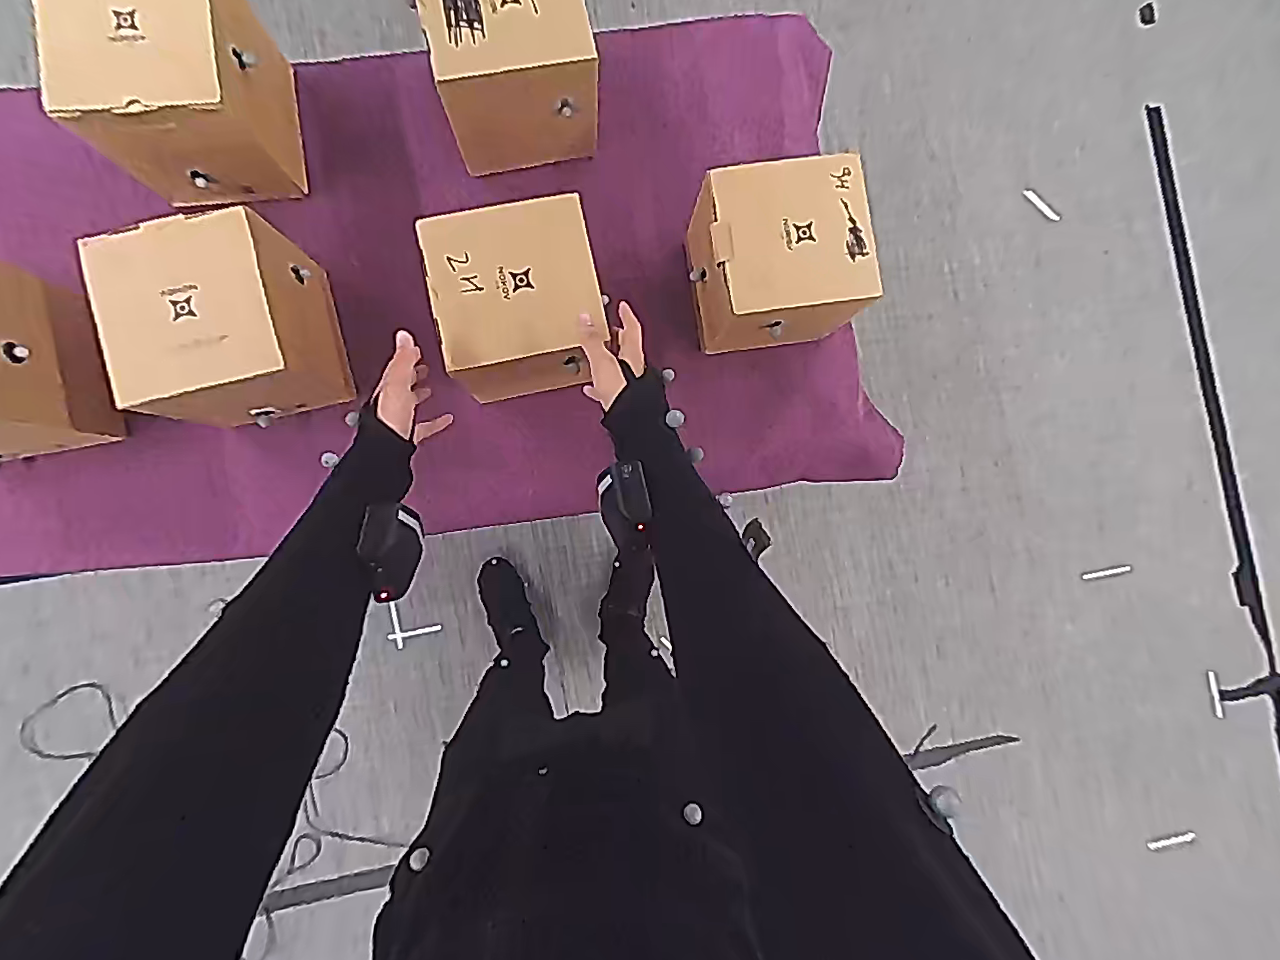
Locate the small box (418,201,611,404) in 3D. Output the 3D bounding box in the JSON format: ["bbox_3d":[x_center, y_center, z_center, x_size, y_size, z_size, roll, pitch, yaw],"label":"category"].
[{"bbox_3d":[-0.138,-0.198,0.646,0.179,0.176,0.168,-13,88,-5],"label":"small box"}]

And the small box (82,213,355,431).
[{"bbox_3d":[-0.461,-0.166,0.621,0.168,0.176,0.179,-15,89,-4],"label":"small box"}]

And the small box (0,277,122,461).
[{"bbox_3d":[-0.730,-0.119,0.595,0.168,0.176,0.179,-12,87,-5],"label":"small box"}]

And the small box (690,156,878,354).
[{"bbox_3d":[0.162,-0.264,0.672,0.179,0.176,0.168,-8,89,-3],"label":"small box"}]

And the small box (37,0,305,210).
[{"bbox_3d":[-0.519,-0.443,0.623,0.168,0.176,0.179,-7,89,-6],"label":"small box"}]
